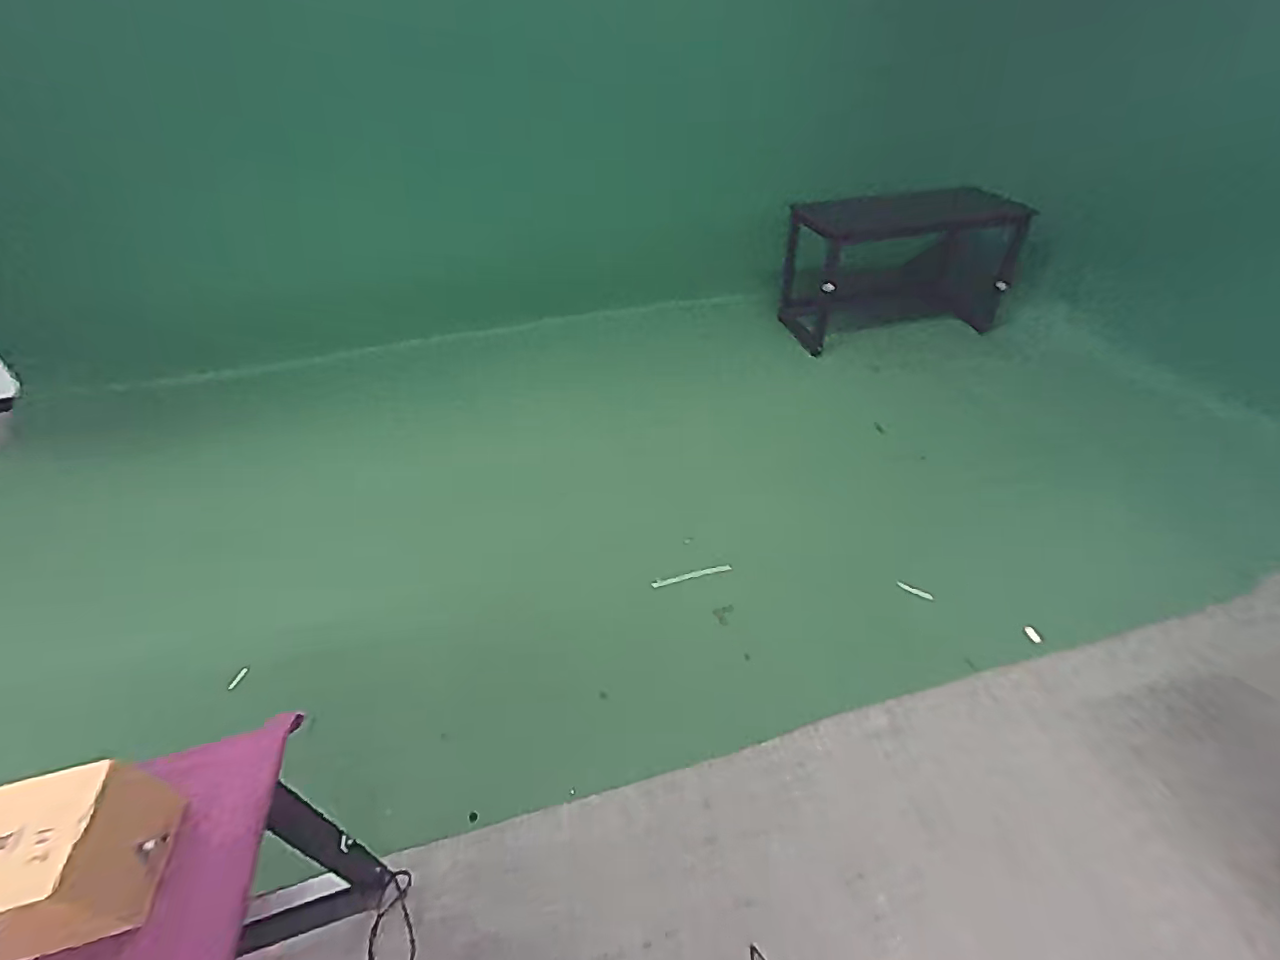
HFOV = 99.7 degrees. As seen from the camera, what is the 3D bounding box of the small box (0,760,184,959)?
[{"bbox_3d":[-0.791,0.517,0.736,0.179,0.176,0.168,-11,42,-8],"label":"small box"}]
